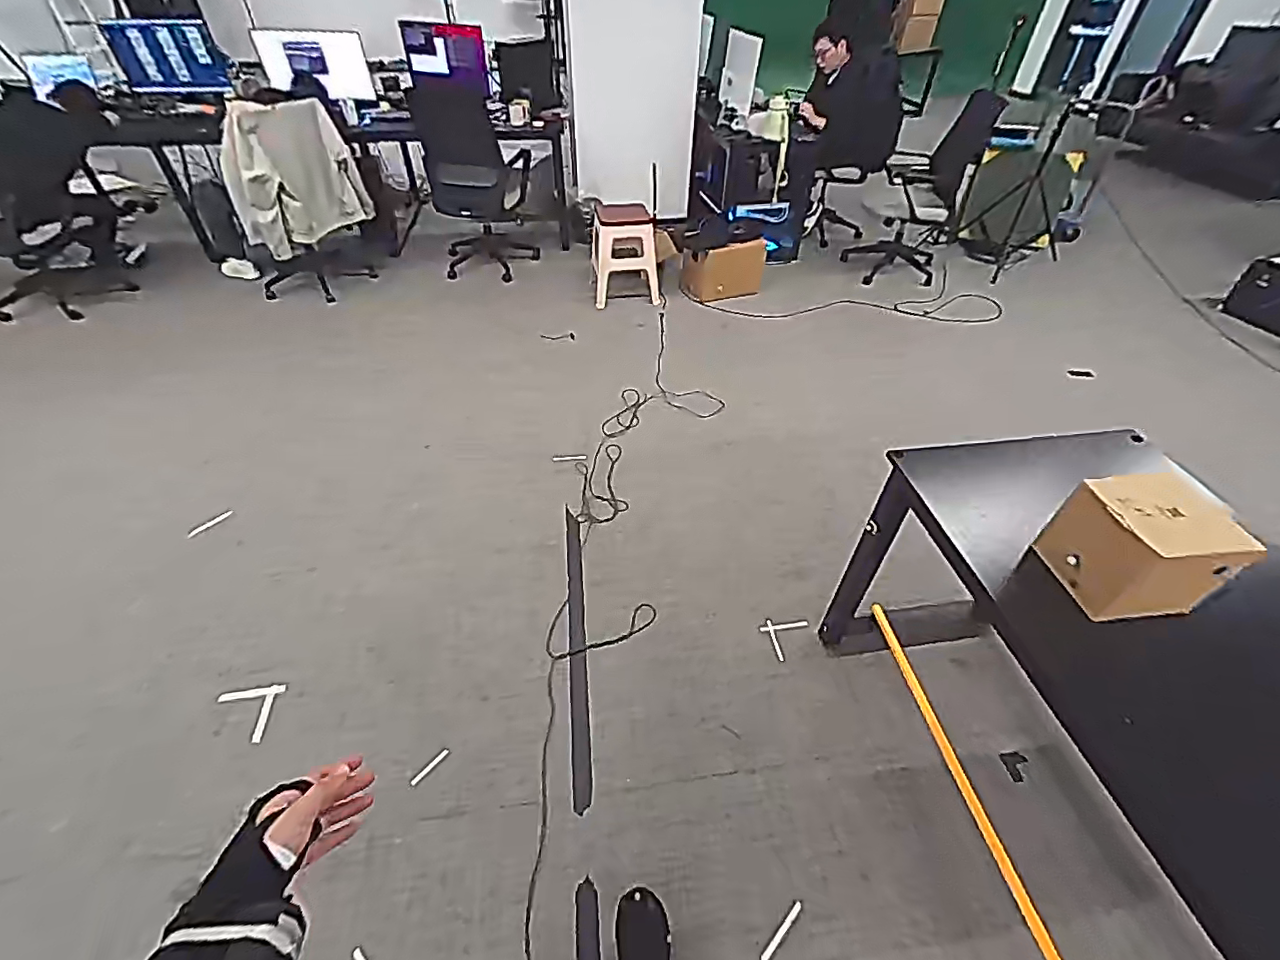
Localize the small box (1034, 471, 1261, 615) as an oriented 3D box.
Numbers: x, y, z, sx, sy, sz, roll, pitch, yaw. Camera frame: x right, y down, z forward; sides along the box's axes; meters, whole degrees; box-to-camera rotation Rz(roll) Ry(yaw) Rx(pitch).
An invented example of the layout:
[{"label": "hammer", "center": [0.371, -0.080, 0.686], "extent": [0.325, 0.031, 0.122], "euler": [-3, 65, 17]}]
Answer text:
[{"label": "small box", "center": [0.814, 0.104, 0.893], "extent": [0.179, 0.176, 0.168], "euler": [-4, 44, -5]}]
